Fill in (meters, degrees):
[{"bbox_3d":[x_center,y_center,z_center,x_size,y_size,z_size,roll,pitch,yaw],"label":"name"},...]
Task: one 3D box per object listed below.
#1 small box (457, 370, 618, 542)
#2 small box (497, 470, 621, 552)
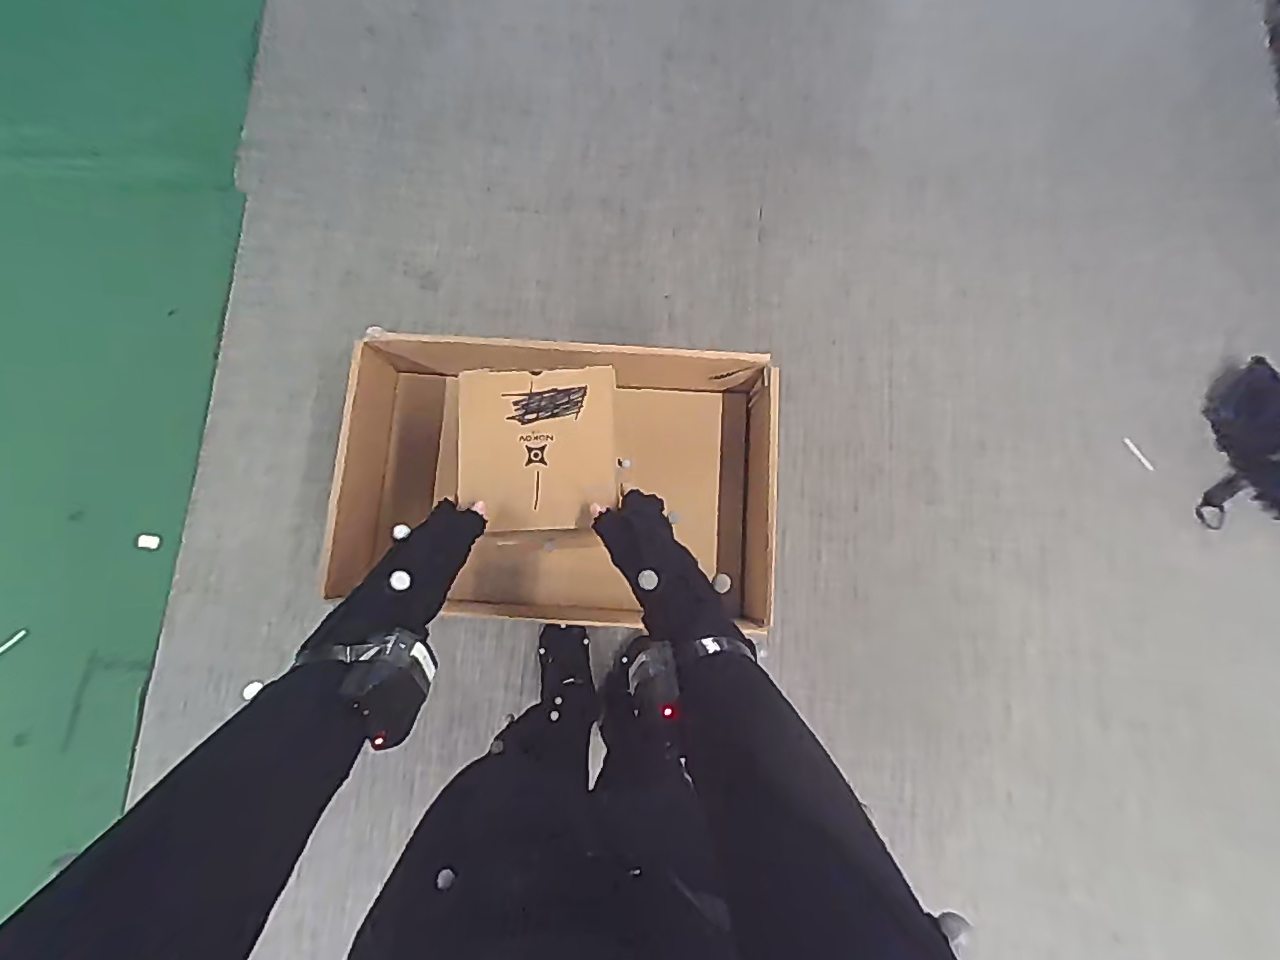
[{"bbox_3d":[-0.112,-0.019,0.652,0.168,0.176,0.179,-2,81,-1],"label":"small box"},{"bbox_3d":[-0.116,0.011,0.813,0.168,0.176,0.179,-3,80,-1],"label":"small box"}]
